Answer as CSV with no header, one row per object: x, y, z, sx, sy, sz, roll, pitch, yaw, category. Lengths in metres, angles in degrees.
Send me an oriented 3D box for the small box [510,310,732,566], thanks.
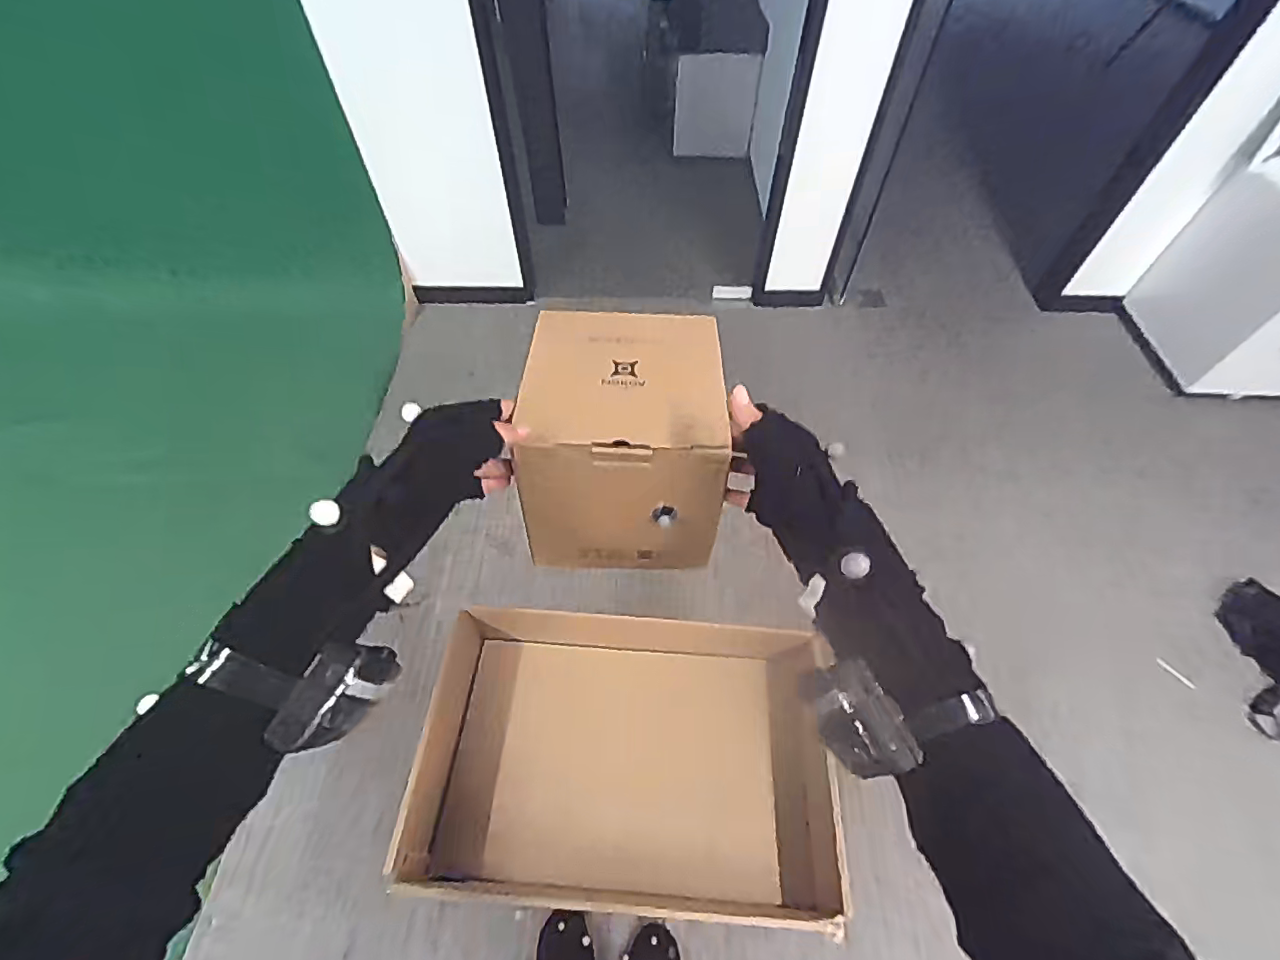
-0.014,-0.036,0.505,0.168,0.176,0.179,3,47,-2,small box
